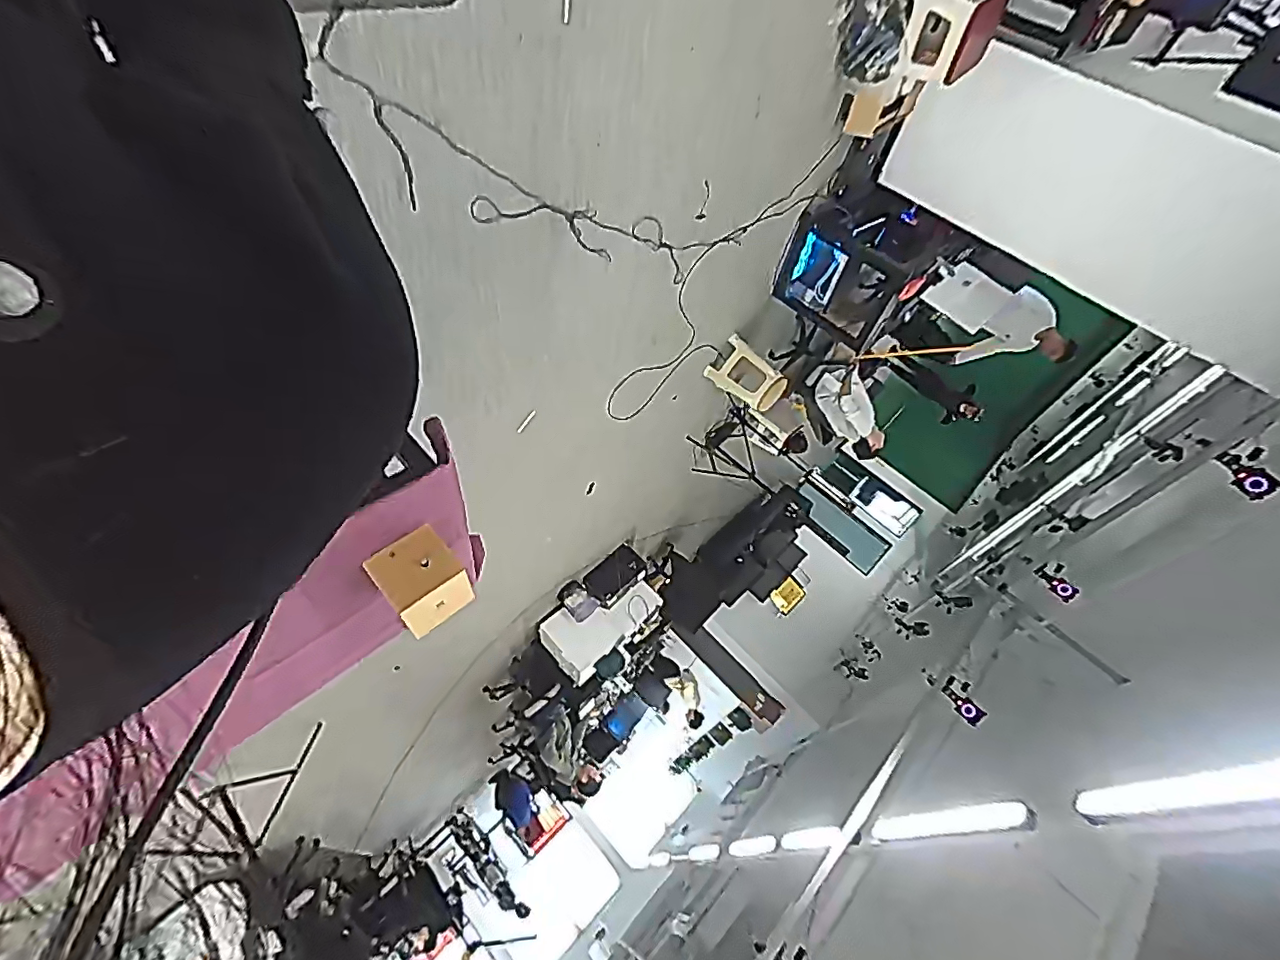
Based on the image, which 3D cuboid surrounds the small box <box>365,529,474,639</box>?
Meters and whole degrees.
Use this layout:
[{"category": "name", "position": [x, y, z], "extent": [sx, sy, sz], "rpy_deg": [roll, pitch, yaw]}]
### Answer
[{"category": "small box", "position": [-0.528, 0.244, 1.301], "extent": [0.168, 0.176, 0.179], "rpy_deg": [-37, 158, -27]}]
